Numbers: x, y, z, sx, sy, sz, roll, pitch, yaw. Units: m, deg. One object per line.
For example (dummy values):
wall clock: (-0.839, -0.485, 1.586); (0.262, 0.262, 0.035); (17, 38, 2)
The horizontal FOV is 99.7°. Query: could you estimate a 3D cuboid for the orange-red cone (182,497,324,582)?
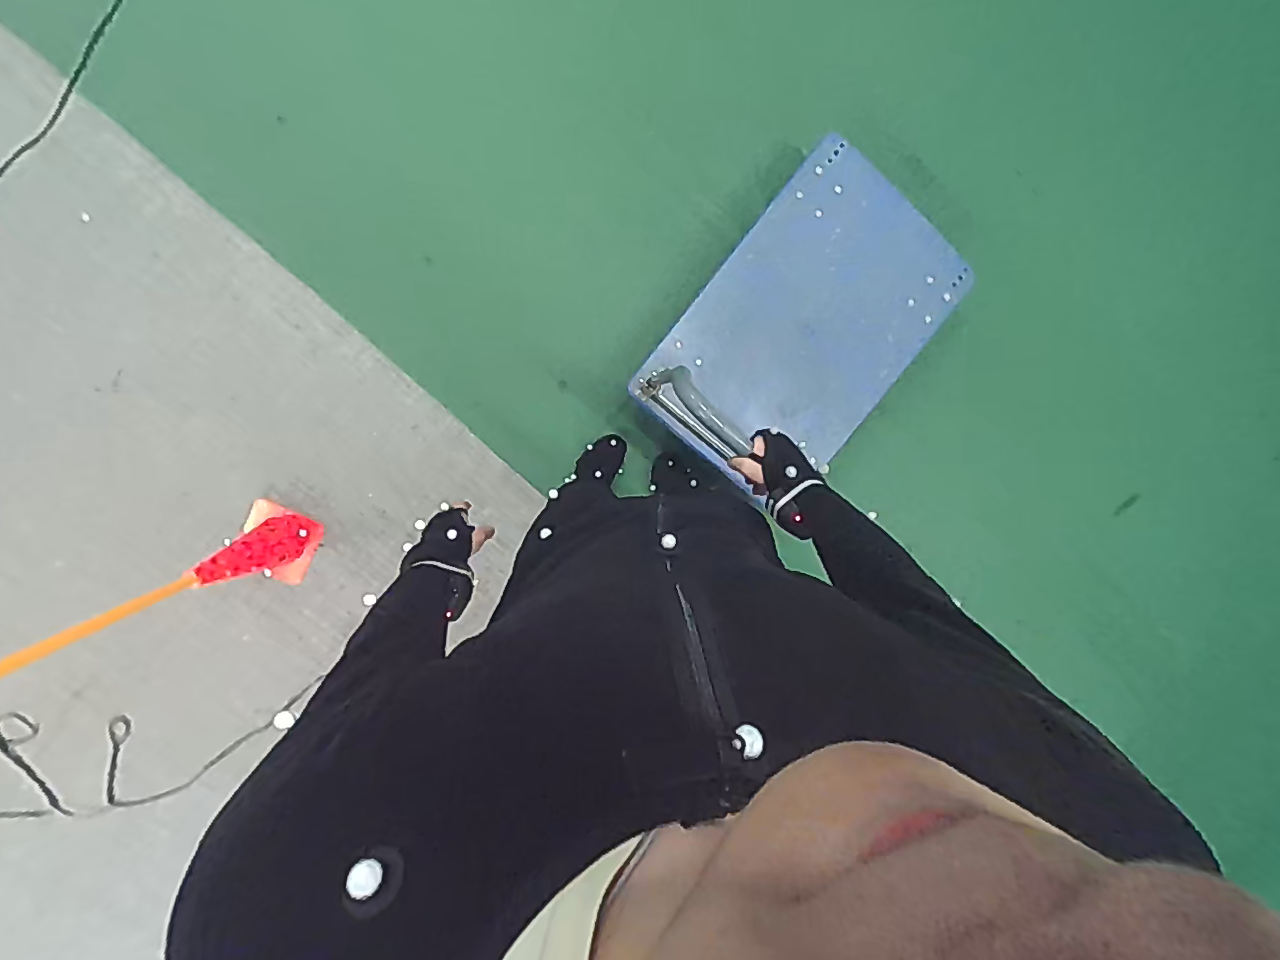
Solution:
orange-red cone: (-1.014, 0.189, 1.371); (0.199, 0.360, 0.198); (28, 93, -7)
